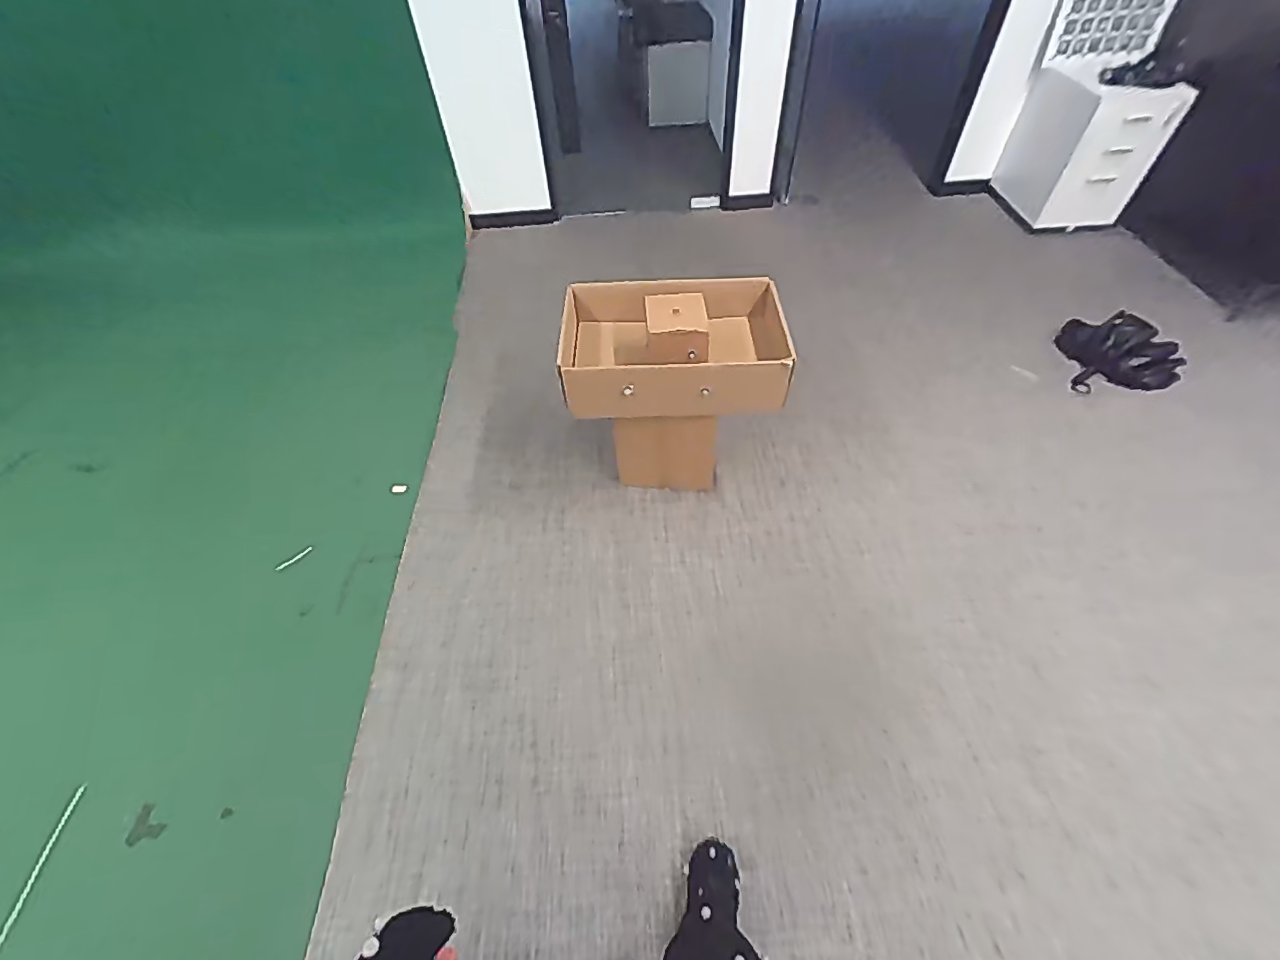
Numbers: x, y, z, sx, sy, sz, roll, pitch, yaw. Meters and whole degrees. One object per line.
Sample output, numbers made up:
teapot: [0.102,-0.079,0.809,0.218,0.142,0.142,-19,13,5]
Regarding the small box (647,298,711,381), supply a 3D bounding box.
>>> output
small box: [0.107,-0.394,1.541,0.168,0.176,0.179,-3,49,-1]
